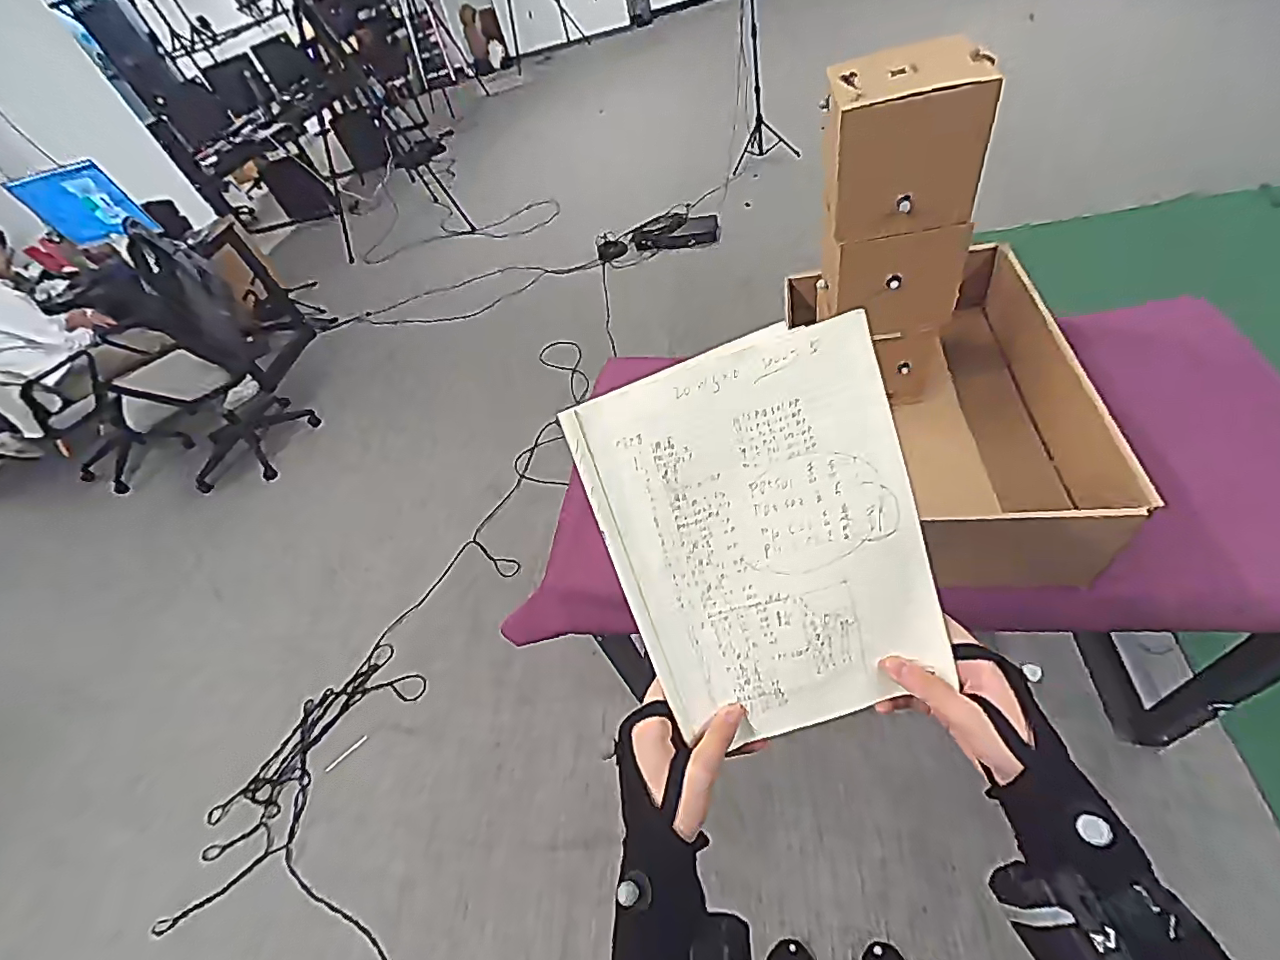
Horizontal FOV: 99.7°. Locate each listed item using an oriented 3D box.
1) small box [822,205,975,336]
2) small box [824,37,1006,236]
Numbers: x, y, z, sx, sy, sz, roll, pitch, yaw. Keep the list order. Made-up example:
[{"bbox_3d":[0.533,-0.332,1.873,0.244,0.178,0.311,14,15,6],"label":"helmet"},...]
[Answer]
[{"bbox_3d":[0.389,-0.350,0.851,0.179,0.176,0.168,-5,50,13],"label":"small box"},{"bbox_3d":[0.351,-0.456,0.731,0.179,0.176,0.168,-2,50,14],"label":"small box"}]
